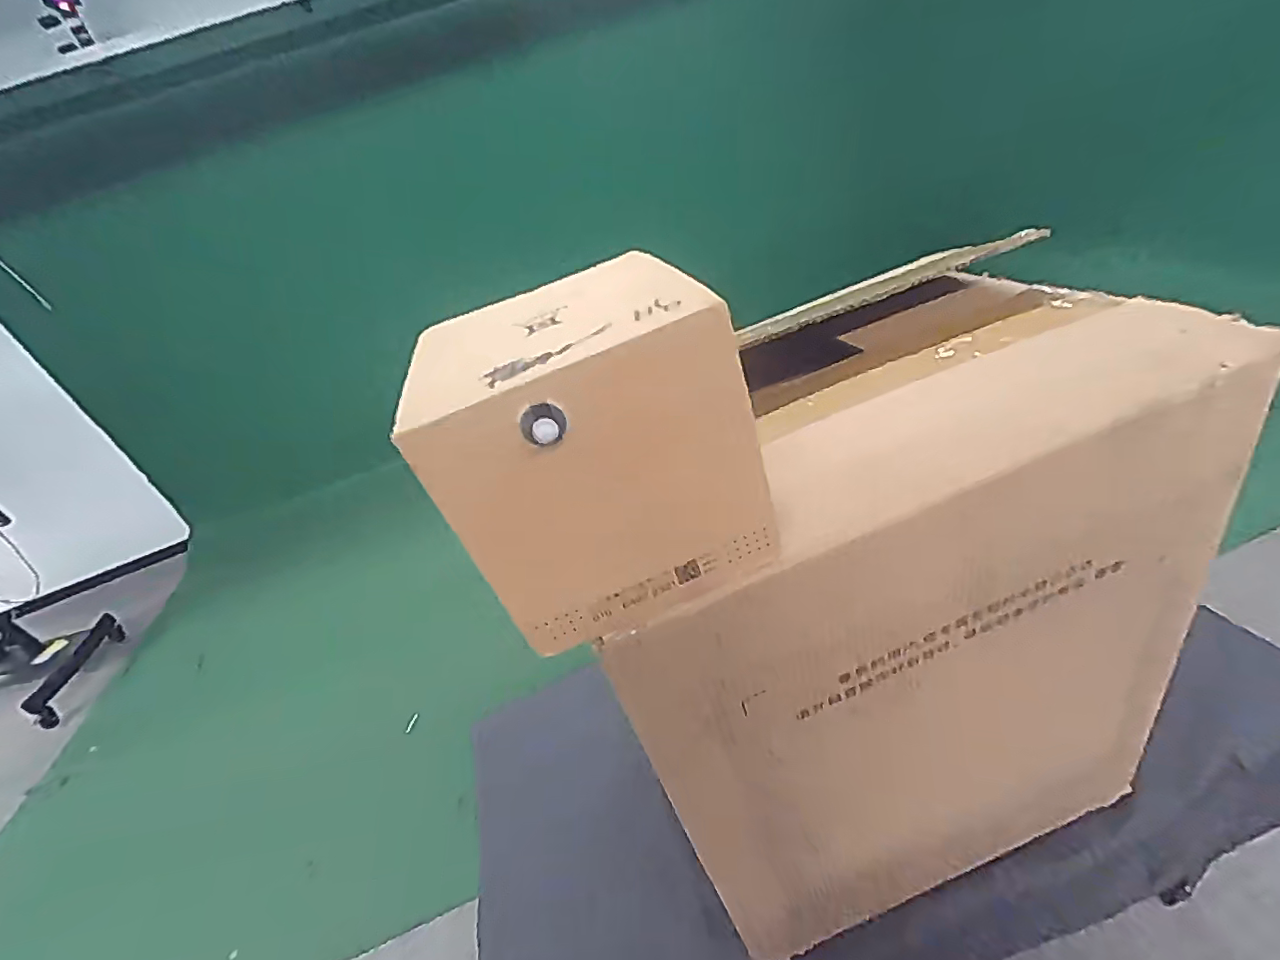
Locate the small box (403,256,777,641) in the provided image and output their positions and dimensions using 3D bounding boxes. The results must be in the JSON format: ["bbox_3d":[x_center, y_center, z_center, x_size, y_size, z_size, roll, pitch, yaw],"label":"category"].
[{"bbox_3d":[-0.028,-0.029,0.364,0.168,0.176,0.179,-24,32,-2],"label":"small box"}]
